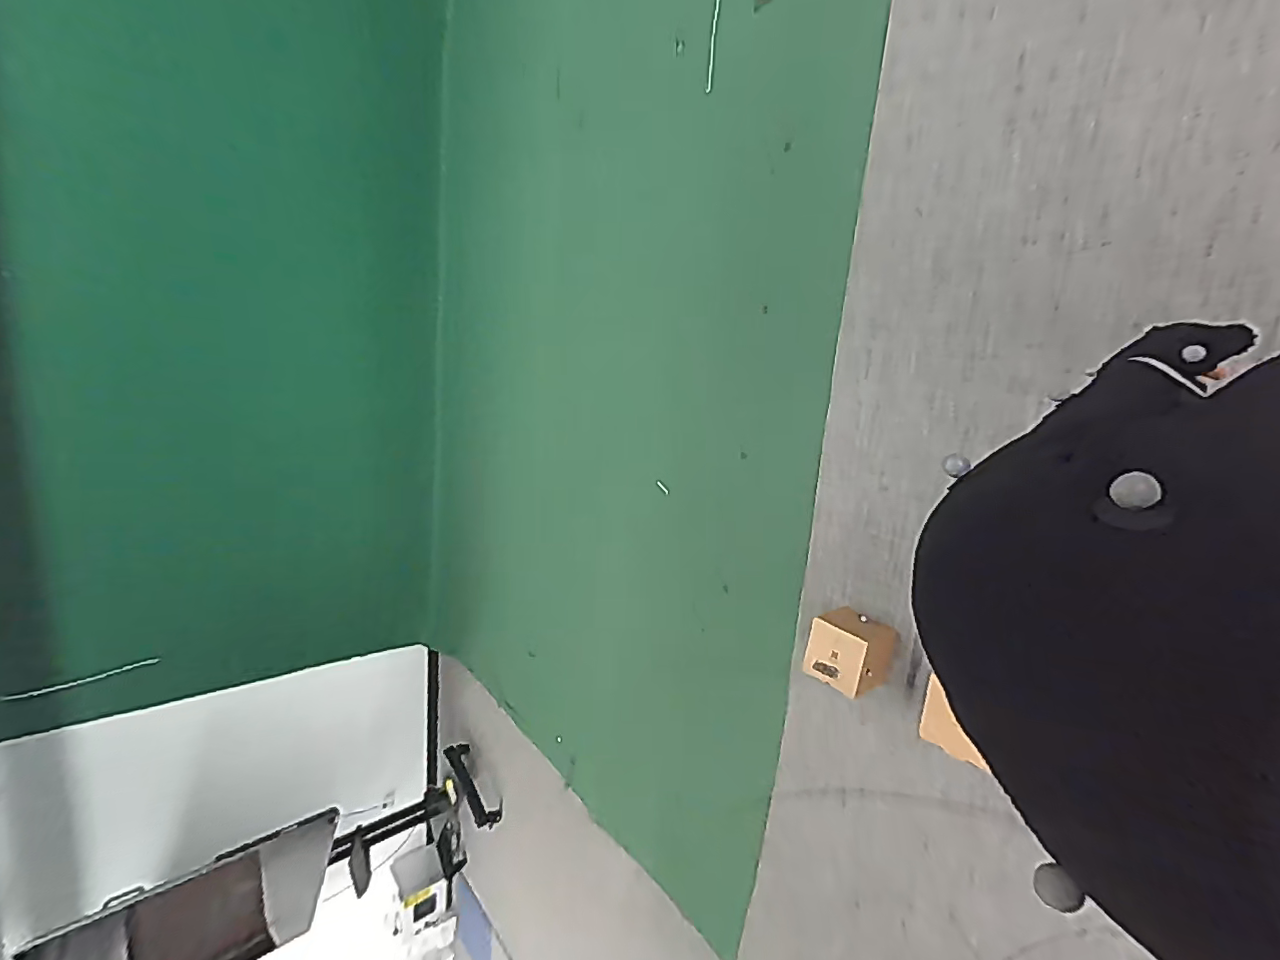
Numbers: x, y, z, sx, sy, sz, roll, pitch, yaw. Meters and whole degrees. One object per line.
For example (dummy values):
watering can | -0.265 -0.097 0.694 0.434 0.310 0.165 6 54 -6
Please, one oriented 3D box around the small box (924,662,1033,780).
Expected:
small box | 0.809 0.561 1.290 0.168 0.176 0.179 16 105 48

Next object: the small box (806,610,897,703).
small box | 0.600 0.492 1.530 0.168 0.176 0.179 22 107 47
